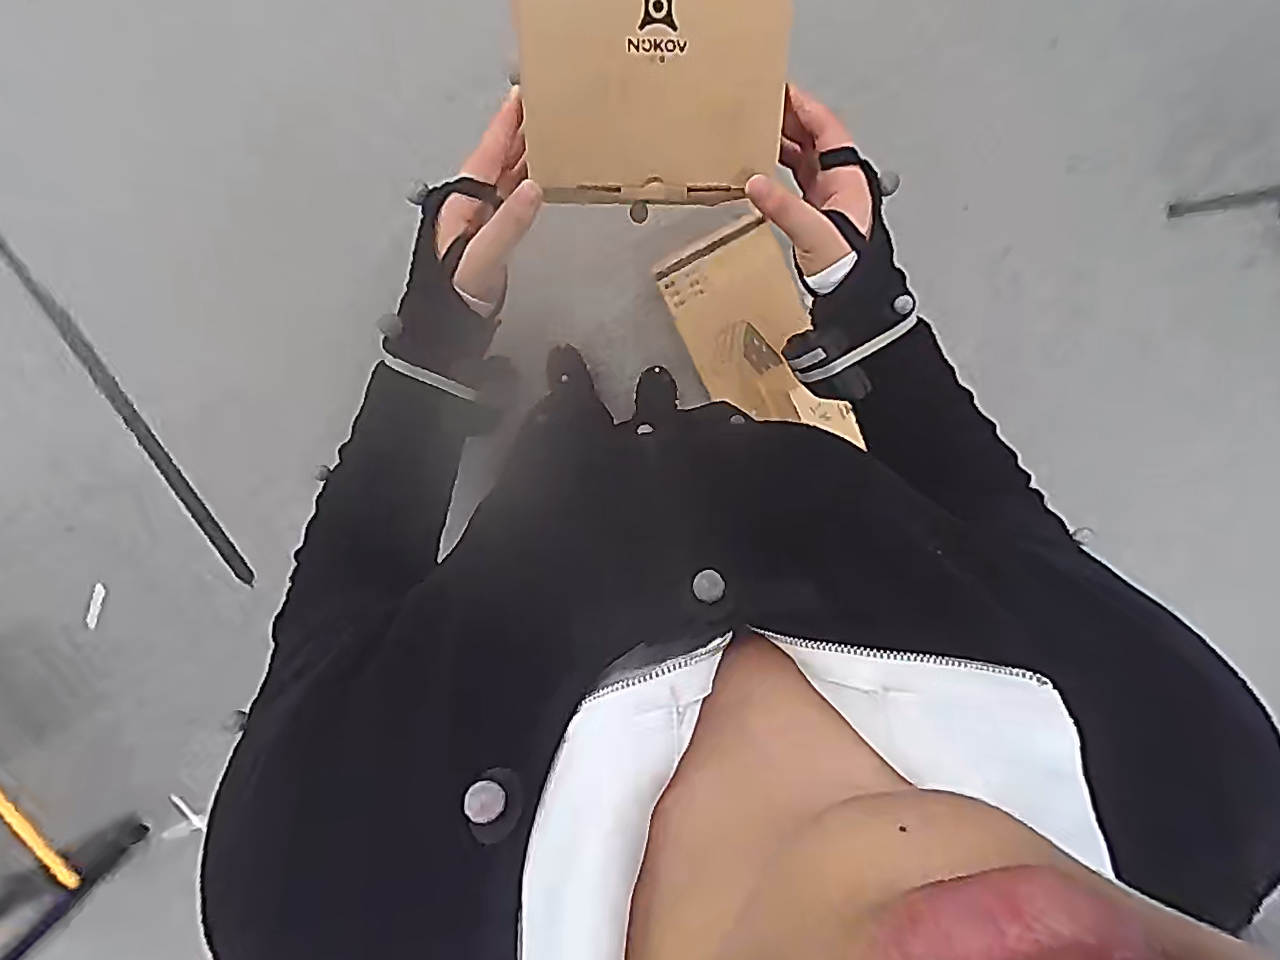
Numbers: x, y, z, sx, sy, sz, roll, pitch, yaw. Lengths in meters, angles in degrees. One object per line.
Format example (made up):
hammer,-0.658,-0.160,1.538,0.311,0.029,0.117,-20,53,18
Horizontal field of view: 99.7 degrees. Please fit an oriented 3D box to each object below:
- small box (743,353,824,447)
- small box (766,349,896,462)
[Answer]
small box,0.366,-0.197,1.289,0.179,0.176,0.168,-23,103,3
small box,0.390,-0.161,1.129,0.179,0.176,0.168,-27,102,3
